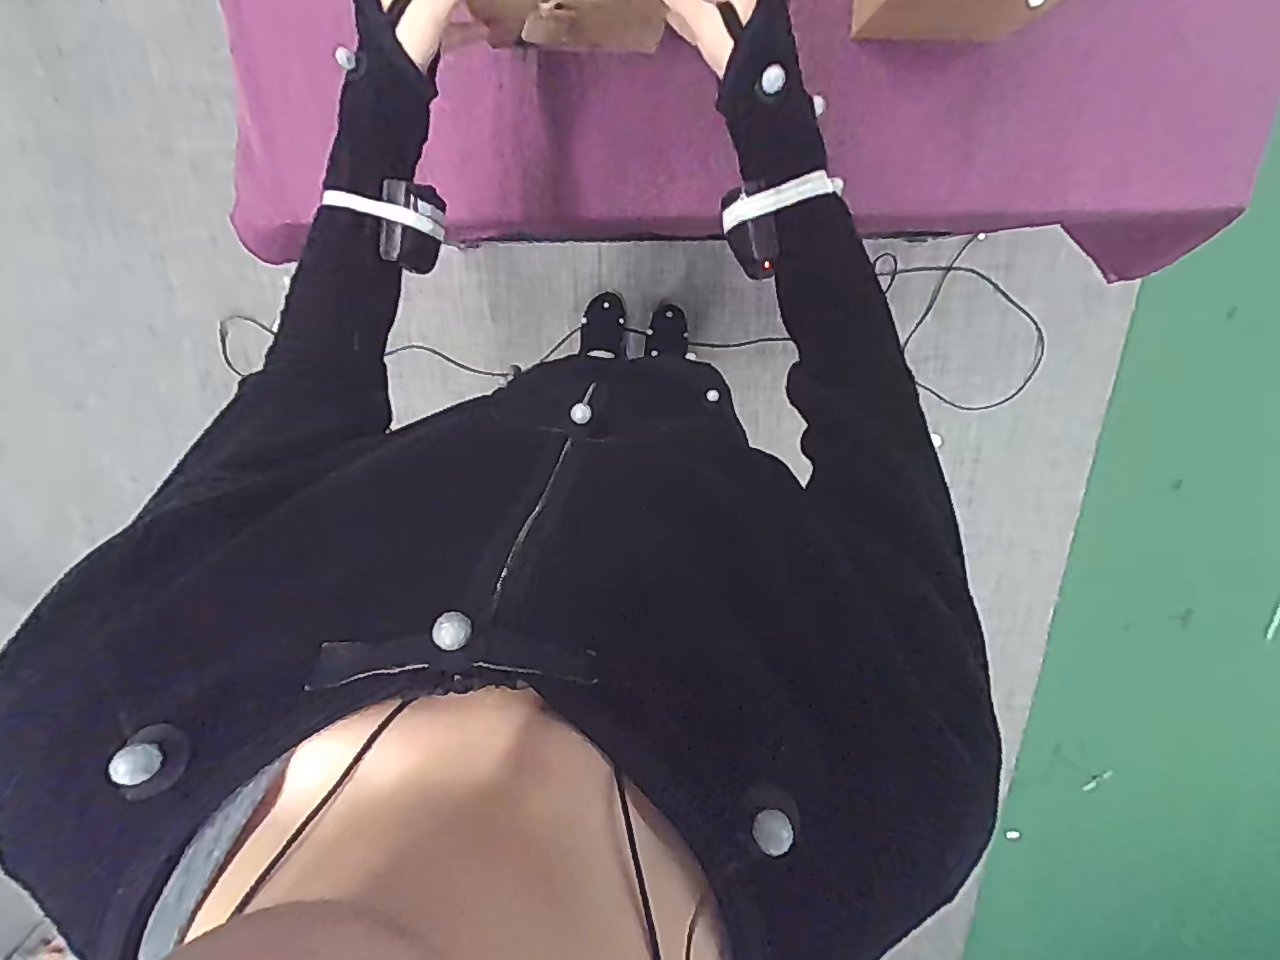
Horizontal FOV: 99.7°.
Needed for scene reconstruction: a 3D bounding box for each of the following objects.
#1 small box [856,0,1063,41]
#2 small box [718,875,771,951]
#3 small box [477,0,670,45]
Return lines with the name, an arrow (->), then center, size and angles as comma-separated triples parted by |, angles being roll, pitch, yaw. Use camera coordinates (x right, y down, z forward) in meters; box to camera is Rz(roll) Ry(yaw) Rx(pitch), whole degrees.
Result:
small box -> 0.333, -0.547, 0.508 | 0.179, 0.176, 0.168 | 0, 109, -2
small box -> 0.399, 1.668, 2.086 | 0.168, 0.176, 0.179 | -2, 109, -2
small box -> -0.054, -0.474, 0.428 | 0.168, 0.176, 0.179 | -2, 115, -4
